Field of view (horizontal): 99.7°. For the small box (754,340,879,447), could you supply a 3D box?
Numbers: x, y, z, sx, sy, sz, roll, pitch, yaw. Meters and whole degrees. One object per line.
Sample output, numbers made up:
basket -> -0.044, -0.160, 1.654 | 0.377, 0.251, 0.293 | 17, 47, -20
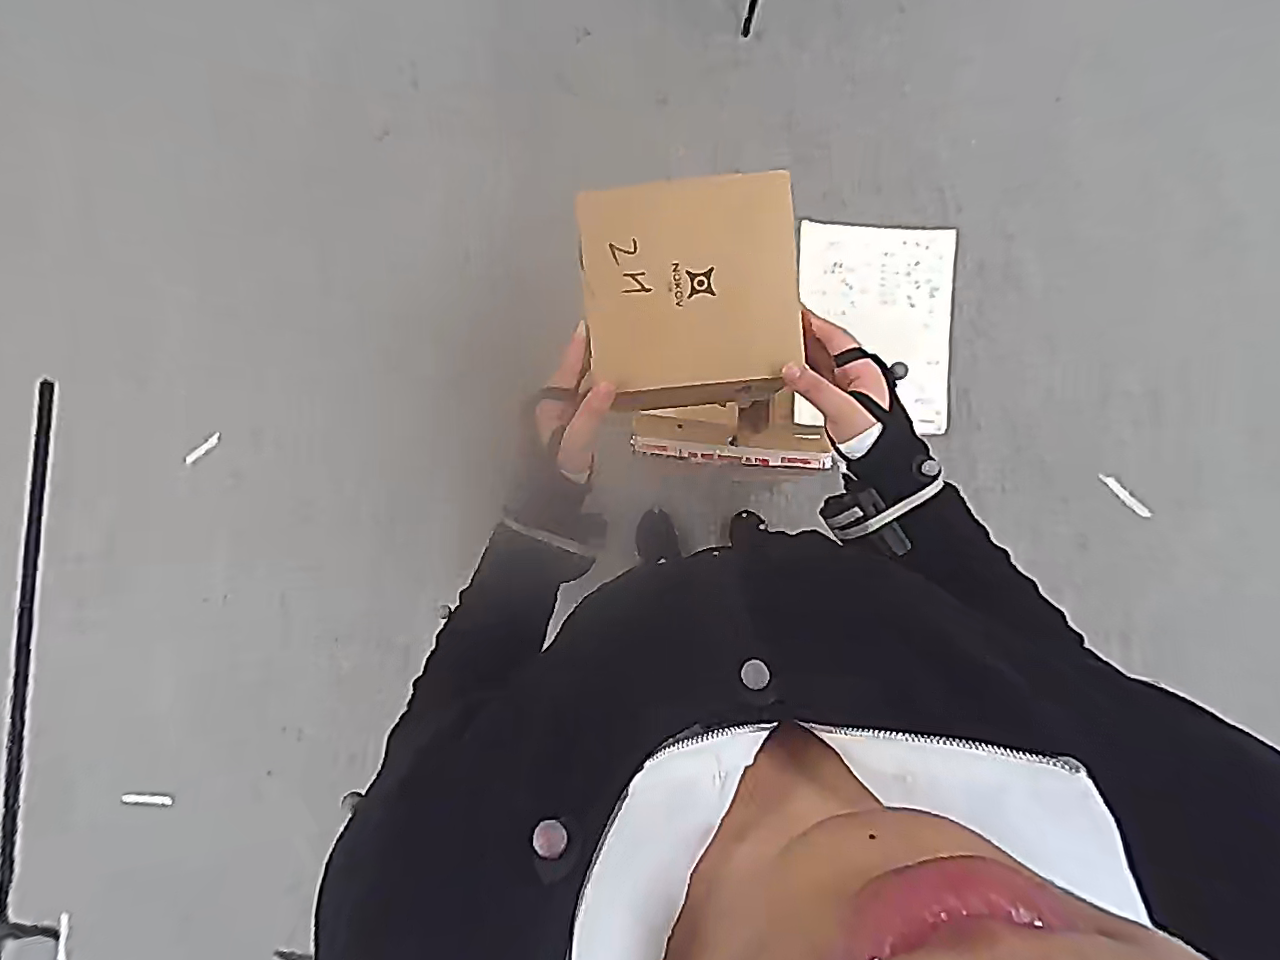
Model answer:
small box -> 0.308, -0.150, 0.968 | 0.179, 0.176, 0.168 | 0, 87, 2

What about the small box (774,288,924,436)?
small box -> 0.300, -0.167, 0.806 | 0.168, 0.176, 0.179 | 2, 87, 2

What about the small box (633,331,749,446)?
small box -> 0.091, -0.157, 0.980 | 0.179, 0.176, 0.168 | 8, 88, 6
